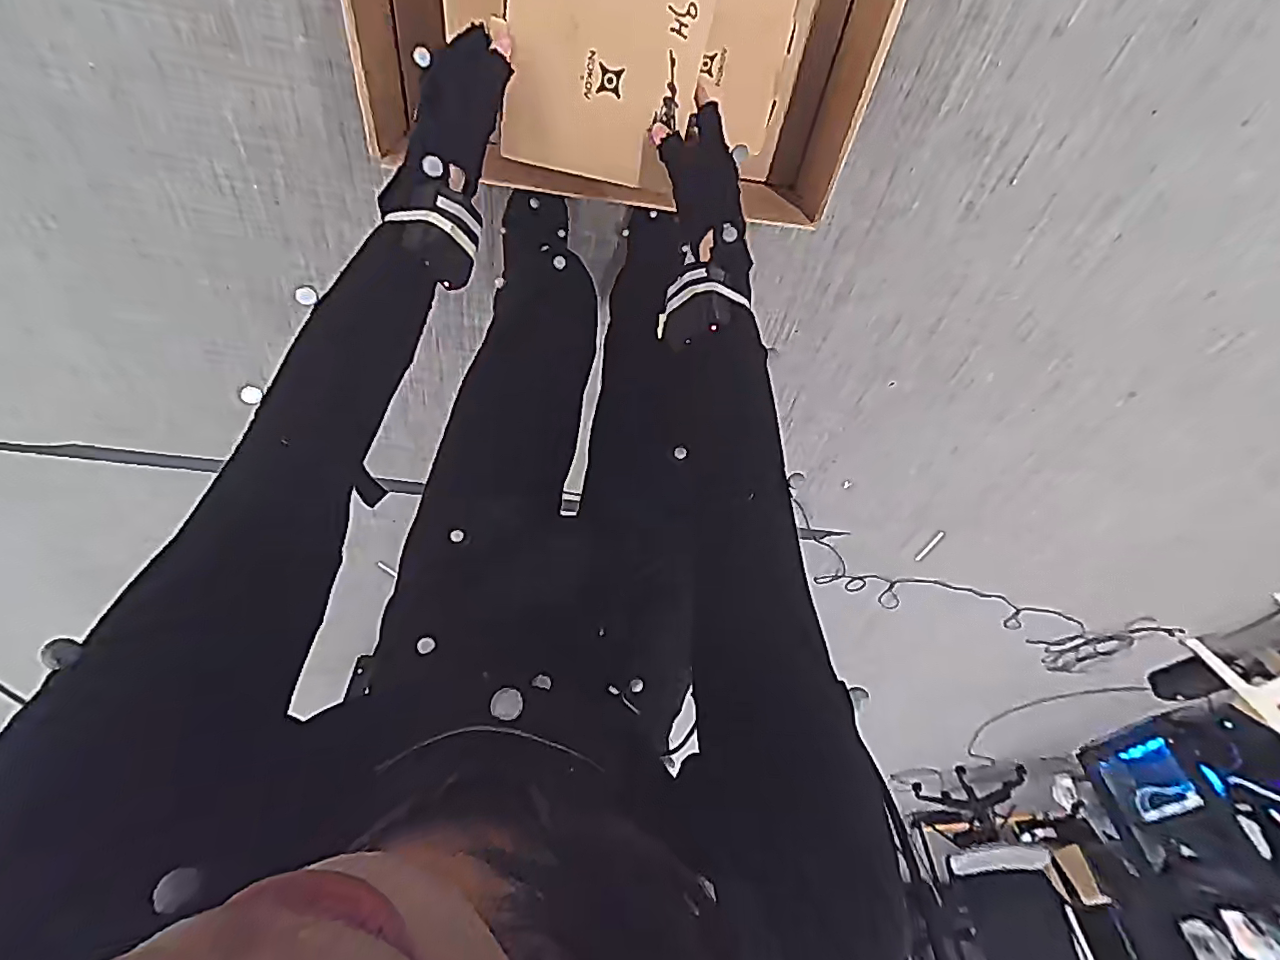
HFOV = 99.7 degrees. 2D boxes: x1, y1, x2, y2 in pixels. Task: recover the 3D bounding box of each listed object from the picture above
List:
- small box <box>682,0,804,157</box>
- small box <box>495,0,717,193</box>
[{"bbox_3d":[0.078,-0.531,0.674,0.179,0.176,0.168,7,135,-6],"label":"small box"},{"bbox_3d":[-0.041,-0.415,0.540,0.179,0.176,0.168,7,131,-12],"label":"small box"}]
